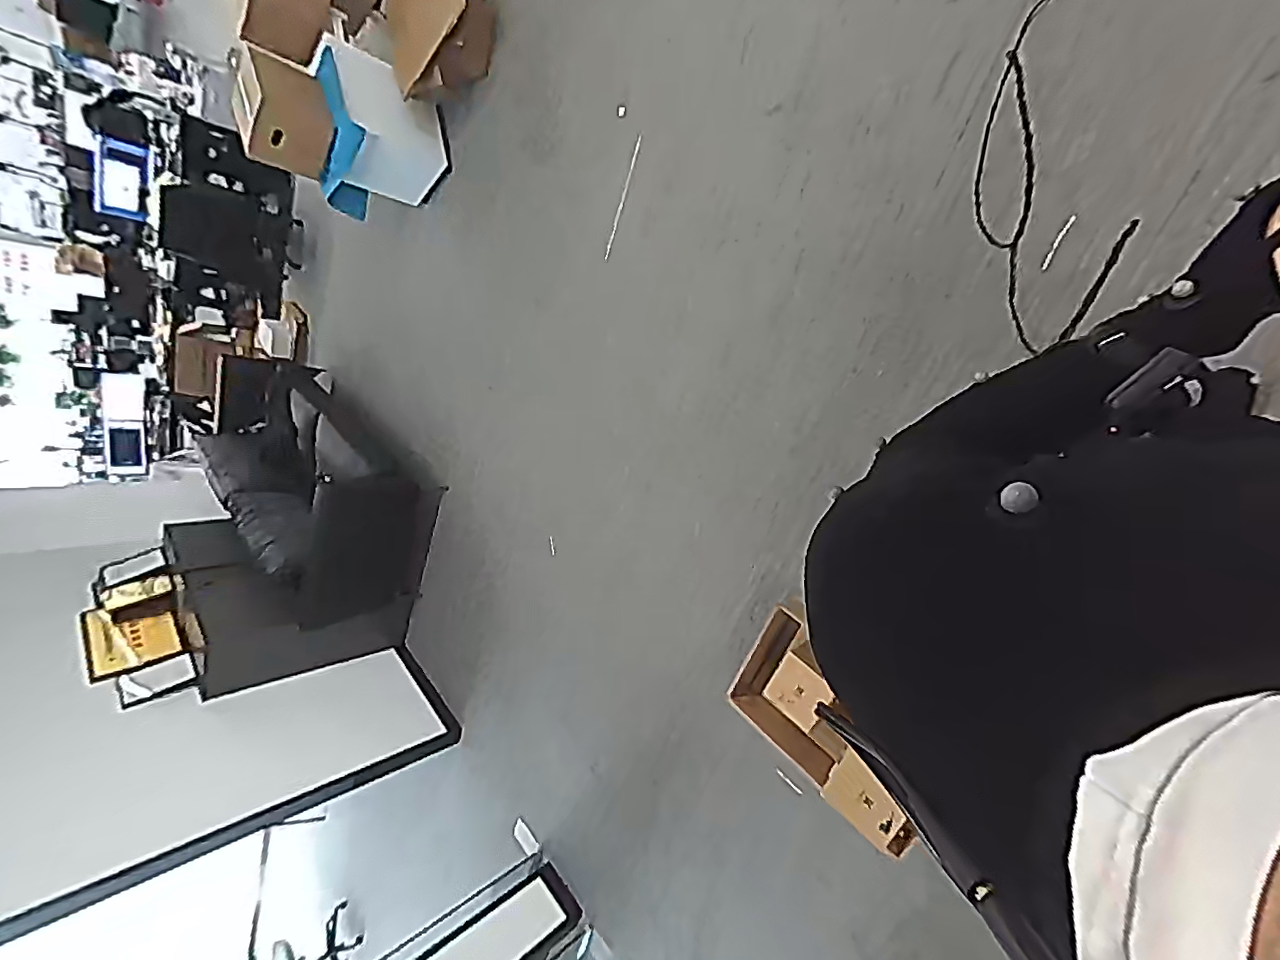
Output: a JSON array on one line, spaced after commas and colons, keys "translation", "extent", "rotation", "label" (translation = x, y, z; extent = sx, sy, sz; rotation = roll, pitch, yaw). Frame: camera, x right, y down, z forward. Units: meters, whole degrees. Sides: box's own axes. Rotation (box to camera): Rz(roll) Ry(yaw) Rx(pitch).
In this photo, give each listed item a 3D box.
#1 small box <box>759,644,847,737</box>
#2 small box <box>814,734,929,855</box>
[{"translation": [0.494, 0.619, 1.616], "extent": [0.168, 0.176, 0.179], "rotation": [38, 116, 33], "label": "small box"}, {"translation": [0.572, 0.760, 1.335], "extent": [0.179, 0.176, 0.168], "rotation": [36, 115, 35], "label": "small box"}]
